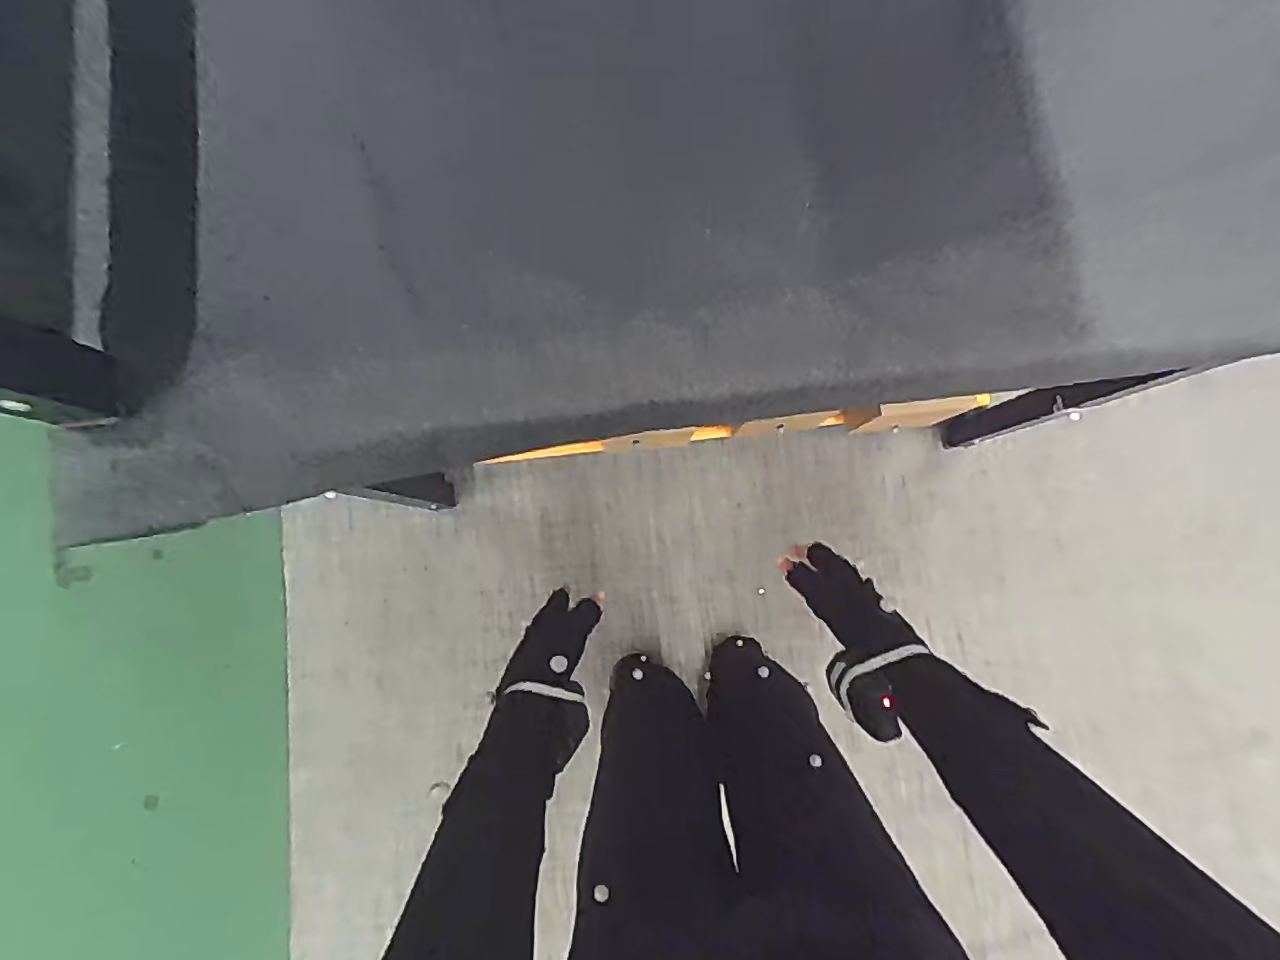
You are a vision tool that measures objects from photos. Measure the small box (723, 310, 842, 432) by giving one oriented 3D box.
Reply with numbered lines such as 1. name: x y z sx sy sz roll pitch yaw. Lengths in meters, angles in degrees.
1. small box: 0.253 -0.190 0.996 0.168 0.176 0.179 -7 84 0

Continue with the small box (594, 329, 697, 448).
1. small box: 0.009 -0.158 0.993 0.168 0.176 0.179 -6 84 -1
